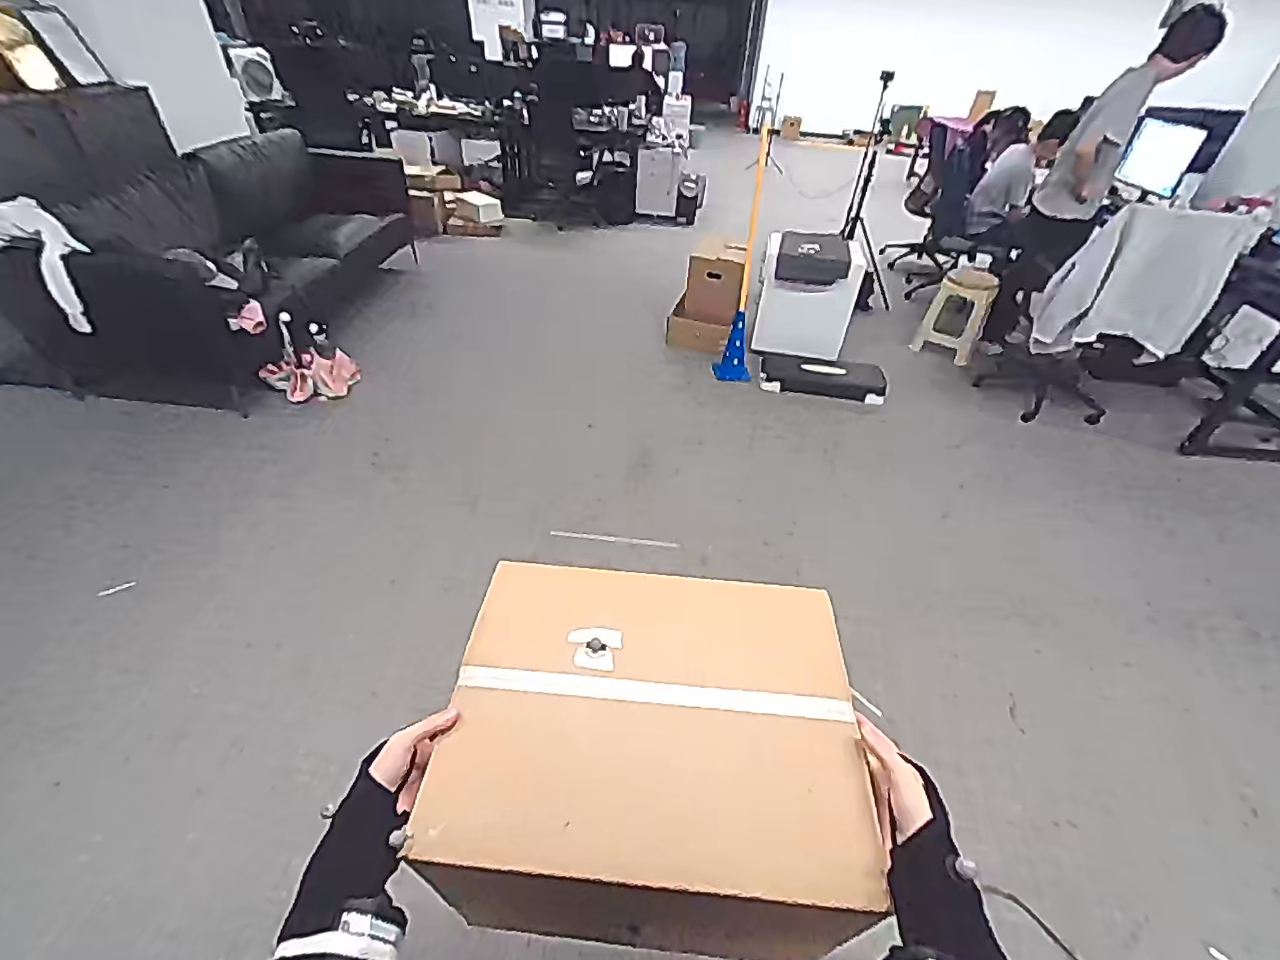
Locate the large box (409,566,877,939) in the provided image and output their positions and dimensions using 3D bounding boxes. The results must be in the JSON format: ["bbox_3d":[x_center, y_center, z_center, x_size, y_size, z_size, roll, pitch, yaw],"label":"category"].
[{"bbox_3d":[0.009,0.330,0.662,0.408,0.320,0.320,4,42,3],"label":"large box"}]
